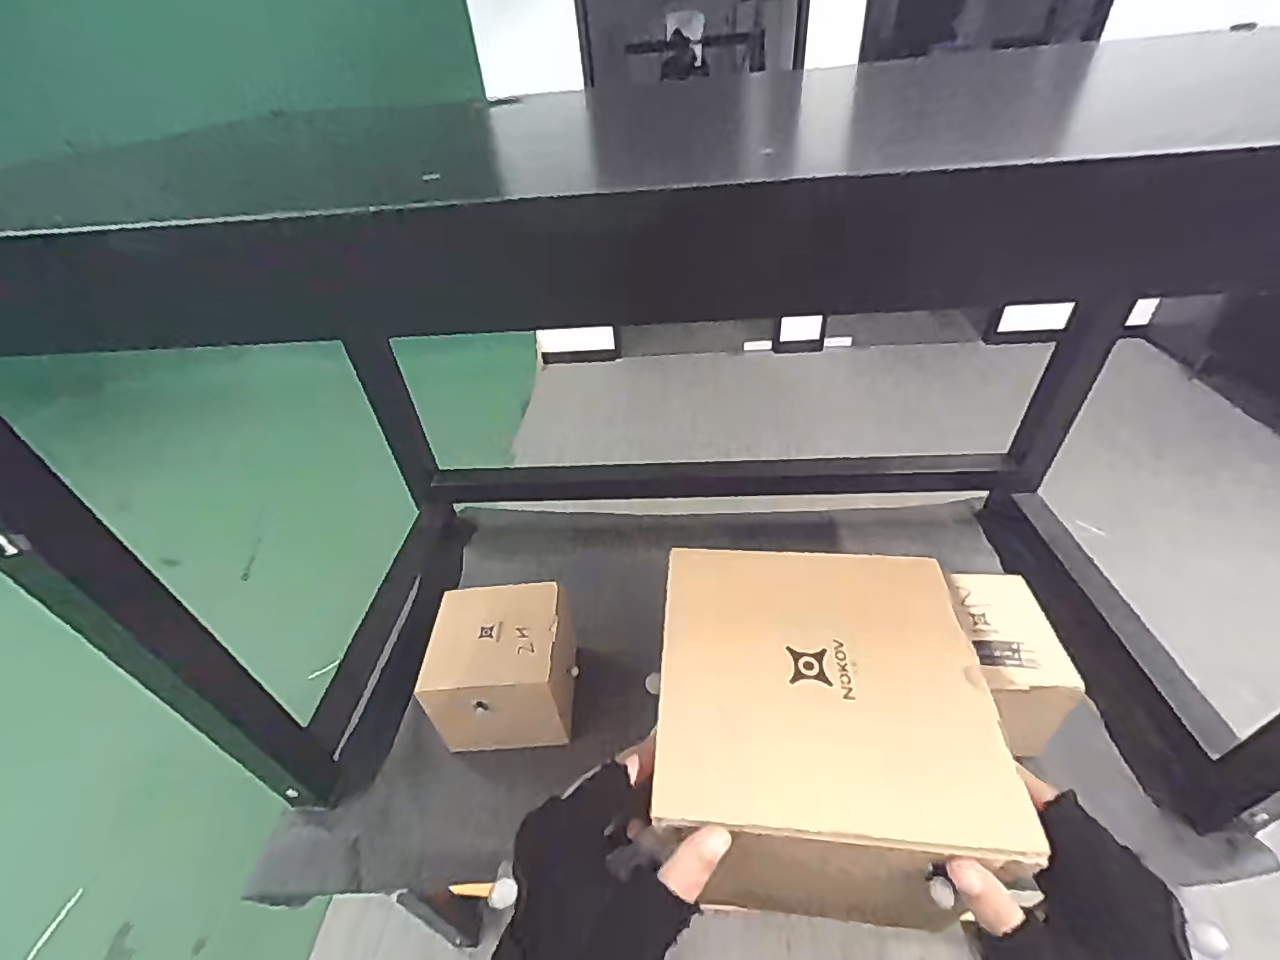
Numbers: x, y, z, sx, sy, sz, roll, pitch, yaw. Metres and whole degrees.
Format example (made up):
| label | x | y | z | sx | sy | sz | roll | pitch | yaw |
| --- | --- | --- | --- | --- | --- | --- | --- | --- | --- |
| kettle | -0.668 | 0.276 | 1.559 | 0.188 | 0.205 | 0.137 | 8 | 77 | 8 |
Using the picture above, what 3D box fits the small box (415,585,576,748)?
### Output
| label | x | y | z | sx | sy | sz | roll | pitch | yaw |
| --- | --- | --- | --- | --- | --- | --- | --- | --- | --- |
| small box | -0.198 | 0.277 | 0.799 | 0.179 | 0.176 | 0.168 | -4 | 39 | 1 |
